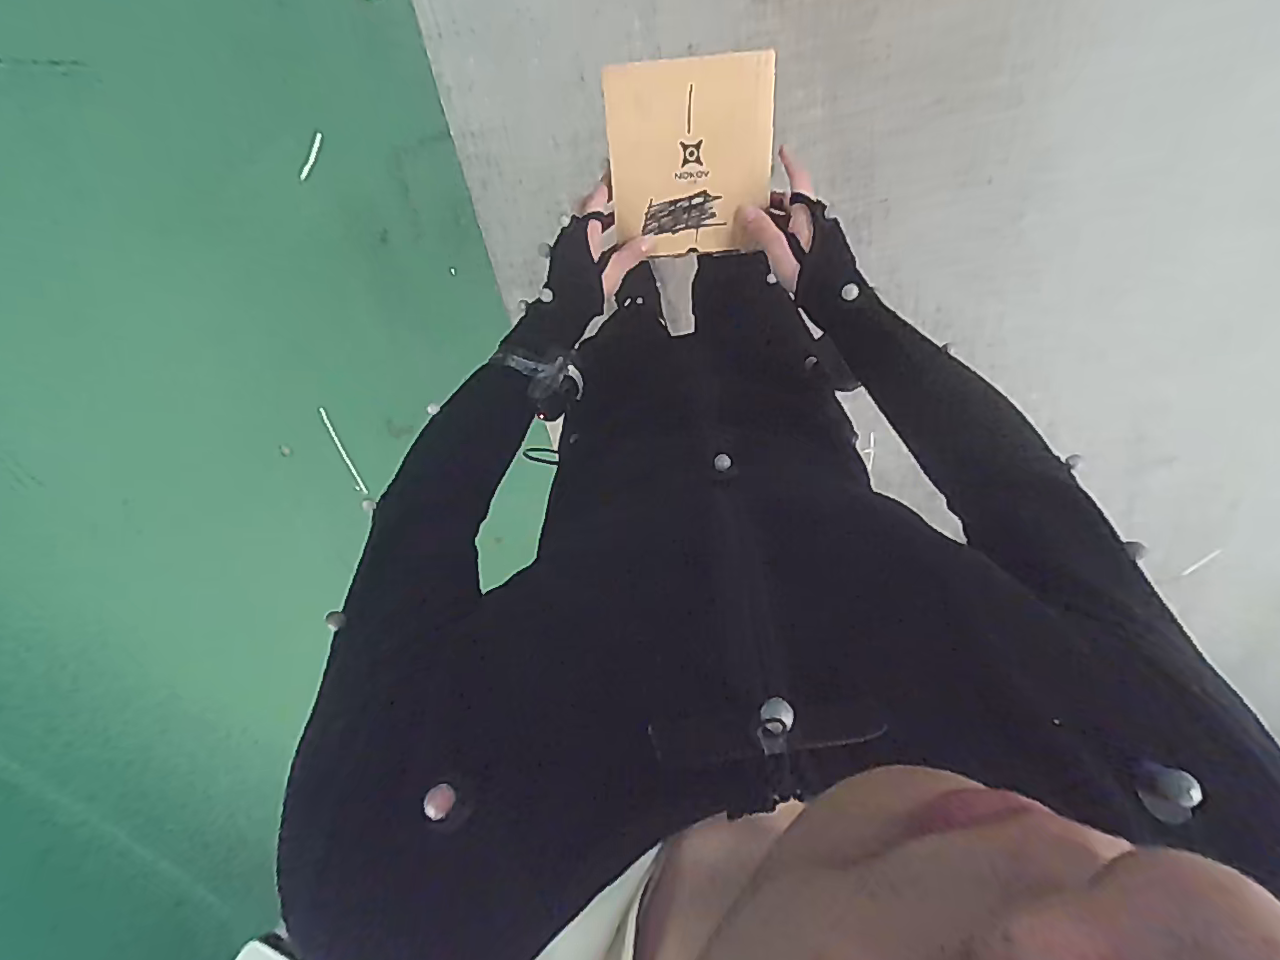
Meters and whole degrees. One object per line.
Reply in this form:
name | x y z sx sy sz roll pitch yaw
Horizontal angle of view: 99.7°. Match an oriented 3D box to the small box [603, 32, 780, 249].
small box | 0.053 -0.367 0.606 0.168 0.176 0.179 -4 118 2
